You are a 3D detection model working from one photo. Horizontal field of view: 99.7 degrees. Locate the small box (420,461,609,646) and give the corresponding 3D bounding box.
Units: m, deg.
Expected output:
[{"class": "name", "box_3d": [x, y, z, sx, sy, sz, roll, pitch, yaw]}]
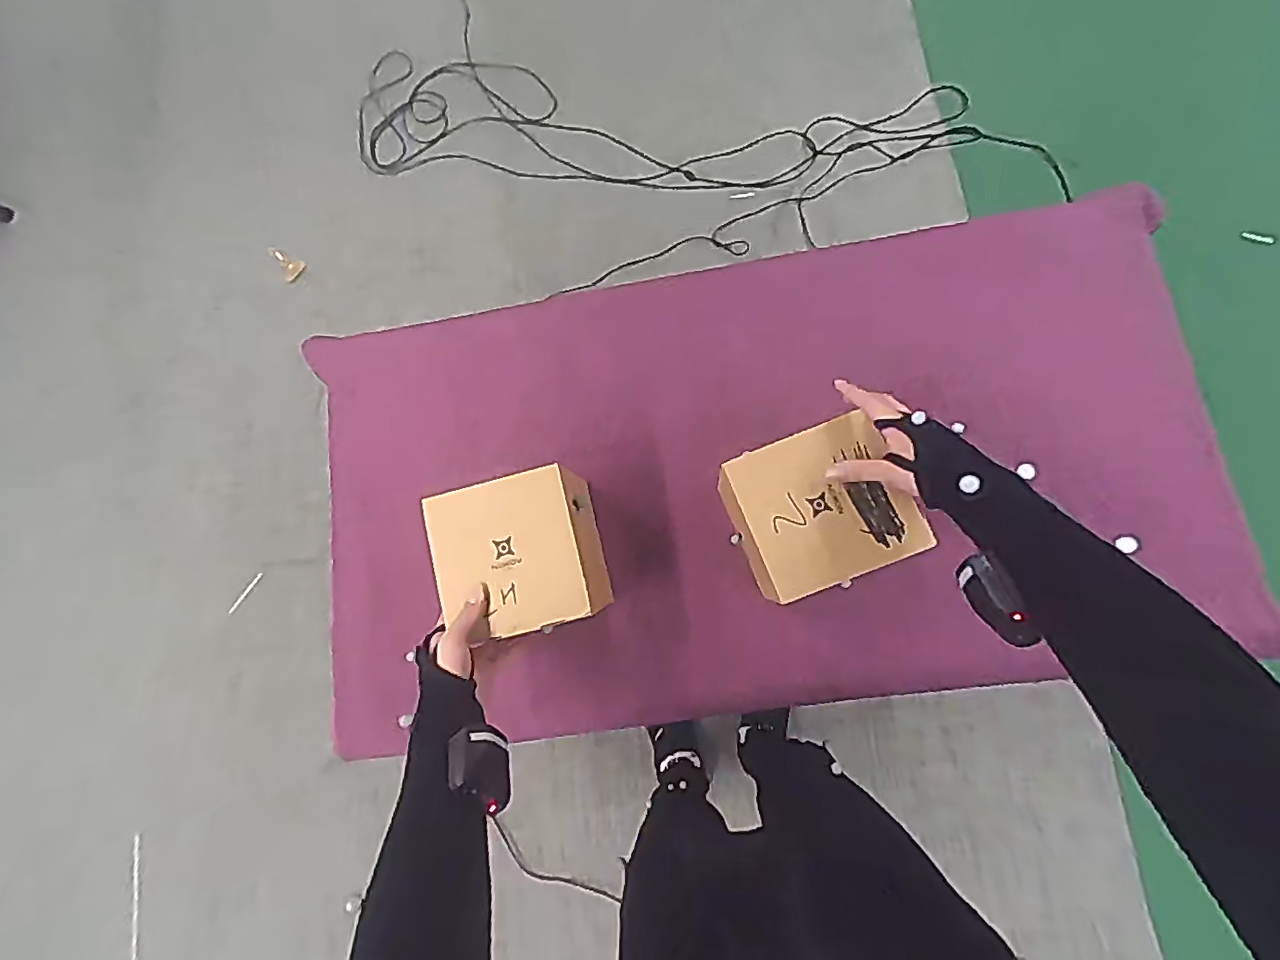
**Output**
[{"class": "small box", "box_3d": [-0.144, 0.091, 0.670, 0.168, 0.176, 0.179, -14, 81, 4]}]
